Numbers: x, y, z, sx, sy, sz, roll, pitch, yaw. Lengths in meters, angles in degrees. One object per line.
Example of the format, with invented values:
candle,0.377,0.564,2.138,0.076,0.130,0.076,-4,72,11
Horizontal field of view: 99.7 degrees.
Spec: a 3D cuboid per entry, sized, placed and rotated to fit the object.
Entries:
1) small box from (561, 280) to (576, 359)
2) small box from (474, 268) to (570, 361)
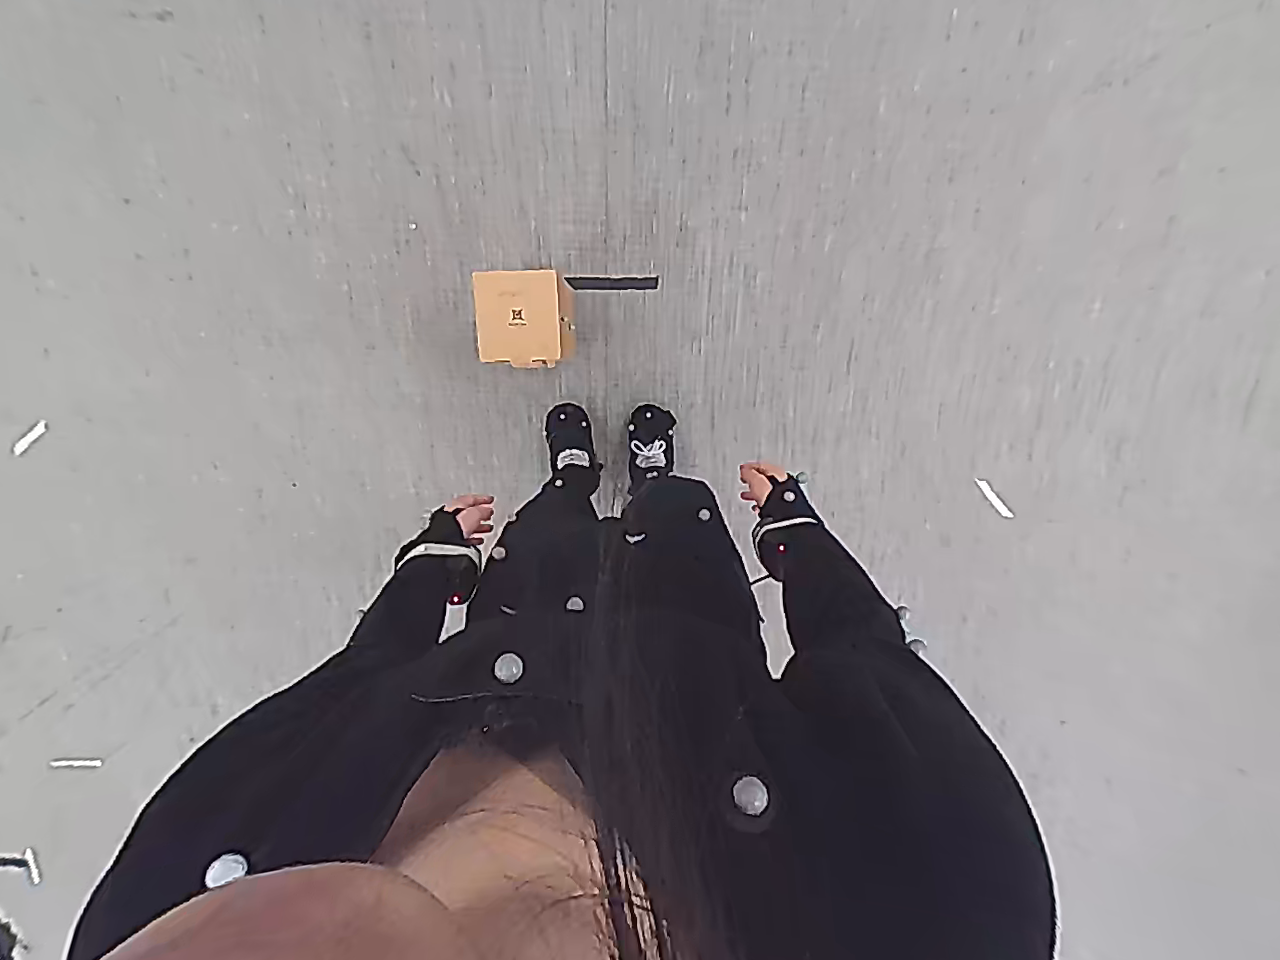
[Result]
small box,-0.246,-0.383,1.304,0.168,0.176,0.179,-1,103,-1
small box,-0.242,-0.345,1.146,0.168,0.176,0.179,-2,103,-1
